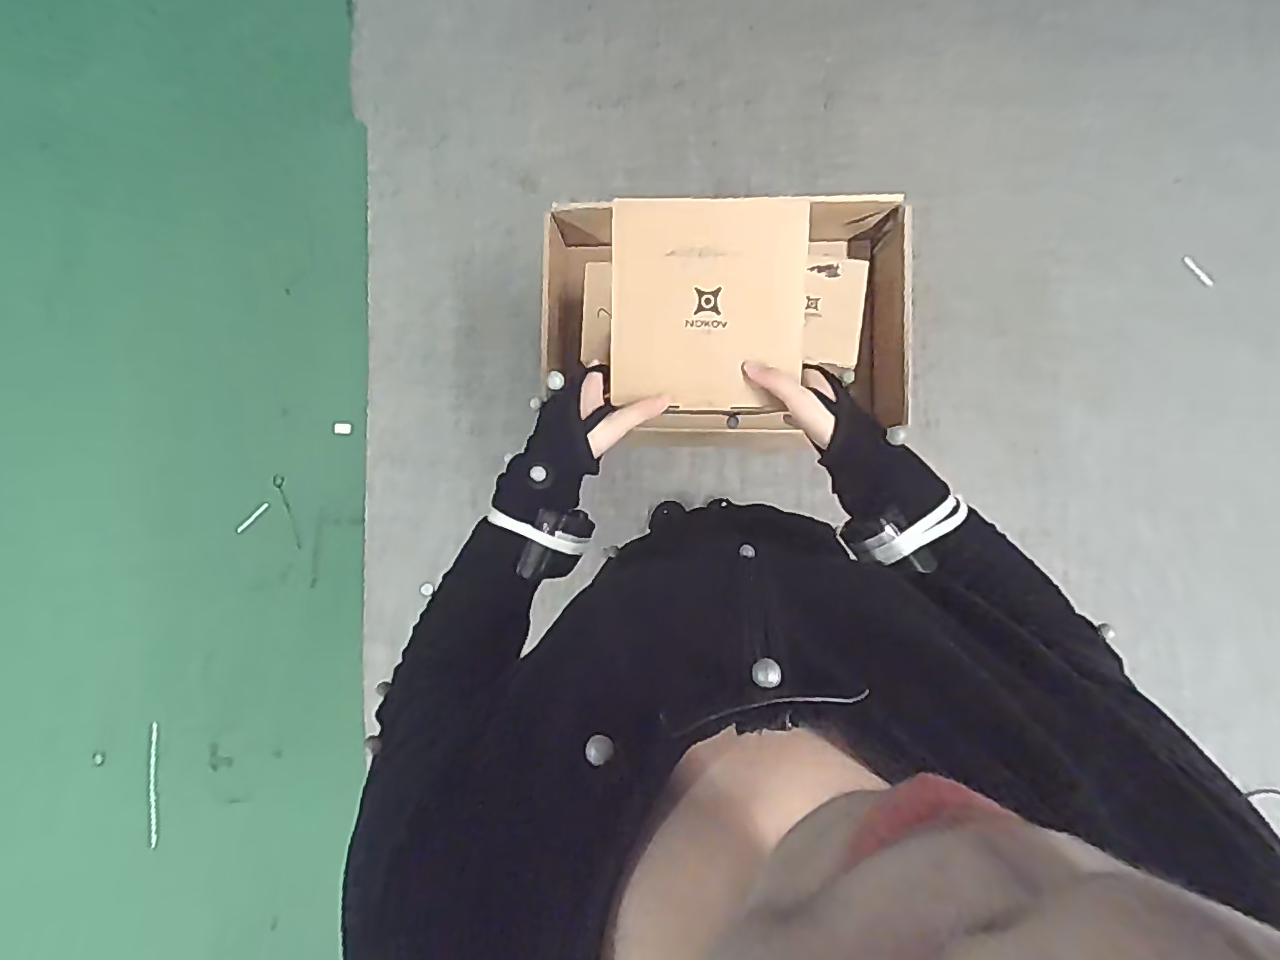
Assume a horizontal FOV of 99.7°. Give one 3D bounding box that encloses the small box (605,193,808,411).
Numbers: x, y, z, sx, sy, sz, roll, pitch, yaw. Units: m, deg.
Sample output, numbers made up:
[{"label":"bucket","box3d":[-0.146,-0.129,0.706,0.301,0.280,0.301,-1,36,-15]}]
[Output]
[{"label":"small box","box3d":[0.058,-0.159,0.537,0.168,0.176,0.179,2,96,2]}]
